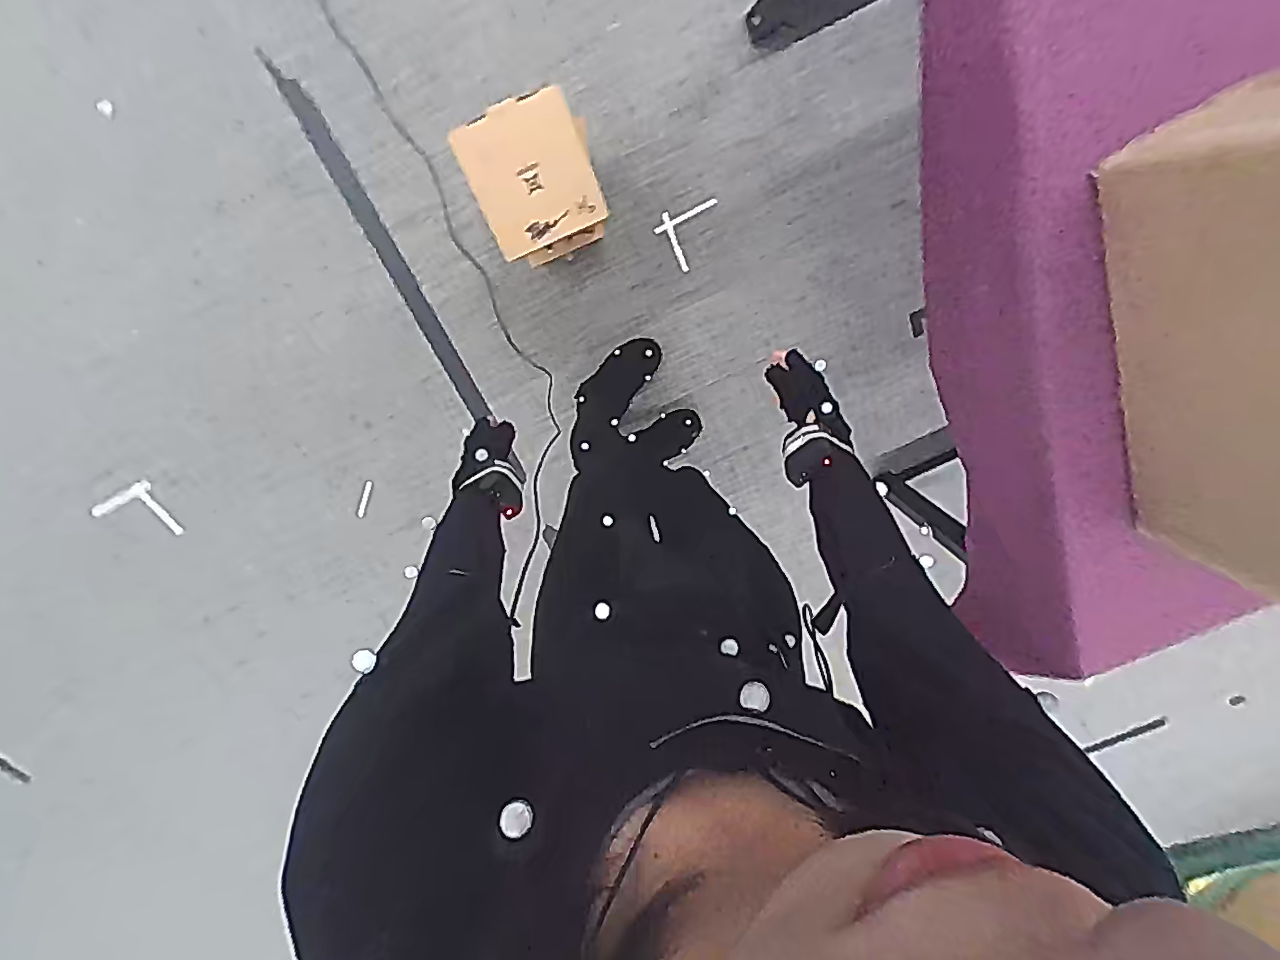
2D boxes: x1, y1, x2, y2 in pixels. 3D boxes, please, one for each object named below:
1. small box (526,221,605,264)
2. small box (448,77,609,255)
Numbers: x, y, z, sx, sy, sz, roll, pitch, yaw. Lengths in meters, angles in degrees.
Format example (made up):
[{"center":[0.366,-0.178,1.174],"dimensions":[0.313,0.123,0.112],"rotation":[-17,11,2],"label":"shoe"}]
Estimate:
[{"center":[-0.185,-0.564,1.120],"dimensions":[0.168,0.176,0.179],"rotation":[-23,114,4],"label":"small box"},{"center":[-0.159,-0.454,0.813],"dimensions":[0.168,0.176,0.179],"rotation":[-23,114,3],"label":"small box"}]
